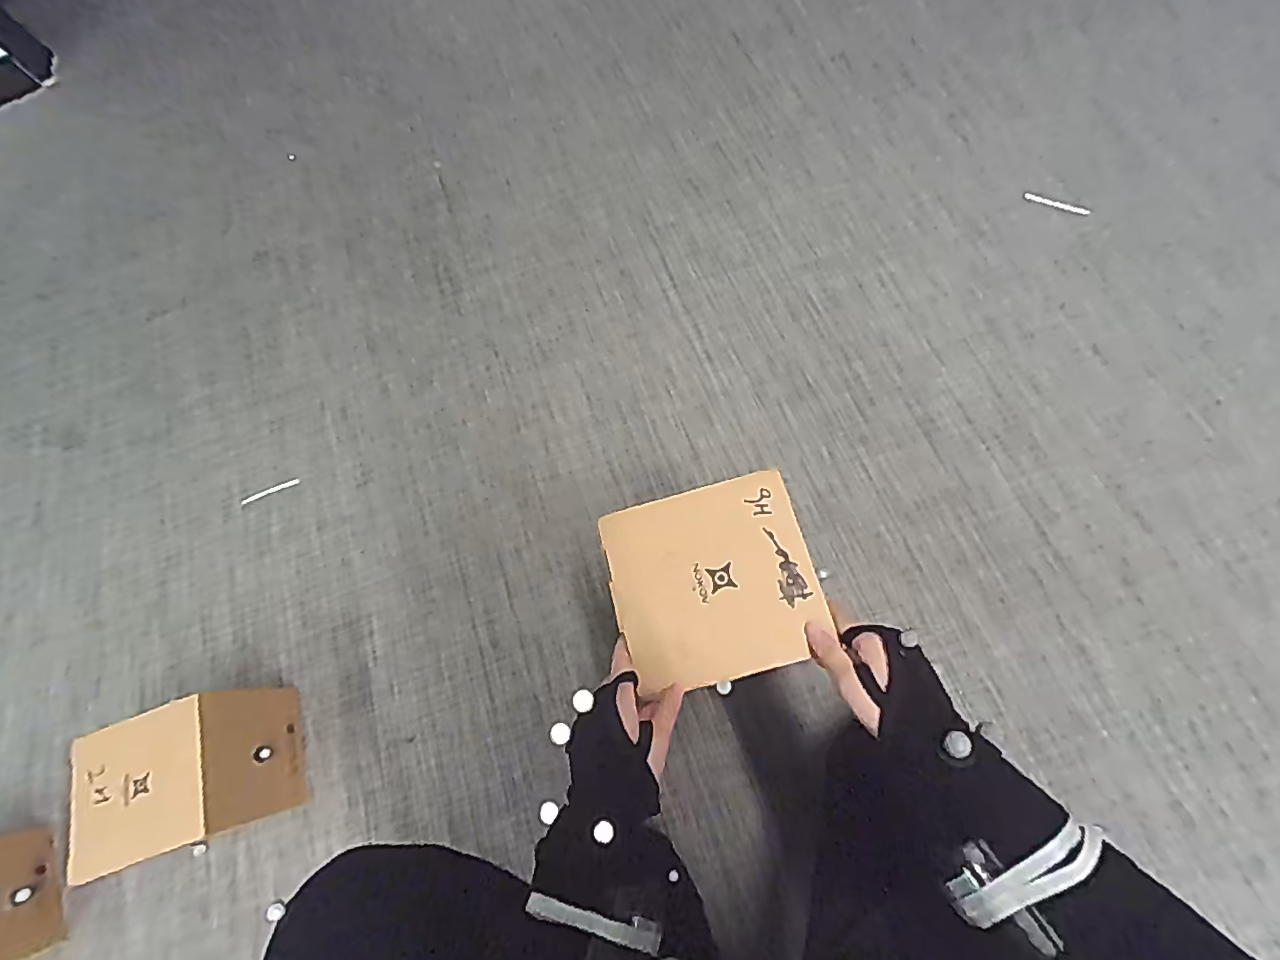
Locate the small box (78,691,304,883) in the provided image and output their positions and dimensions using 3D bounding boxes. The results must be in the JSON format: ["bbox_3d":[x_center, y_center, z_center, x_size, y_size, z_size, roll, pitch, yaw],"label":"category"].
[{"bbox_3d":[-0.586,0.395,0.730,0.179,0.176,0.168,-21,69,2],"label":"small box"}]

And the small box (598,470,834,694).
[{"bbox_3d":[0.073,0.111,0.547,0.179,0.176,0.168,-16,70,4],"label":"small box"}]

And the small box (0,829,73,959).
[{"bbox_3d":[-0.924,0.606,0.712,0.179,0.176,0.168,-33,70,-4],"label":"small box"}]
